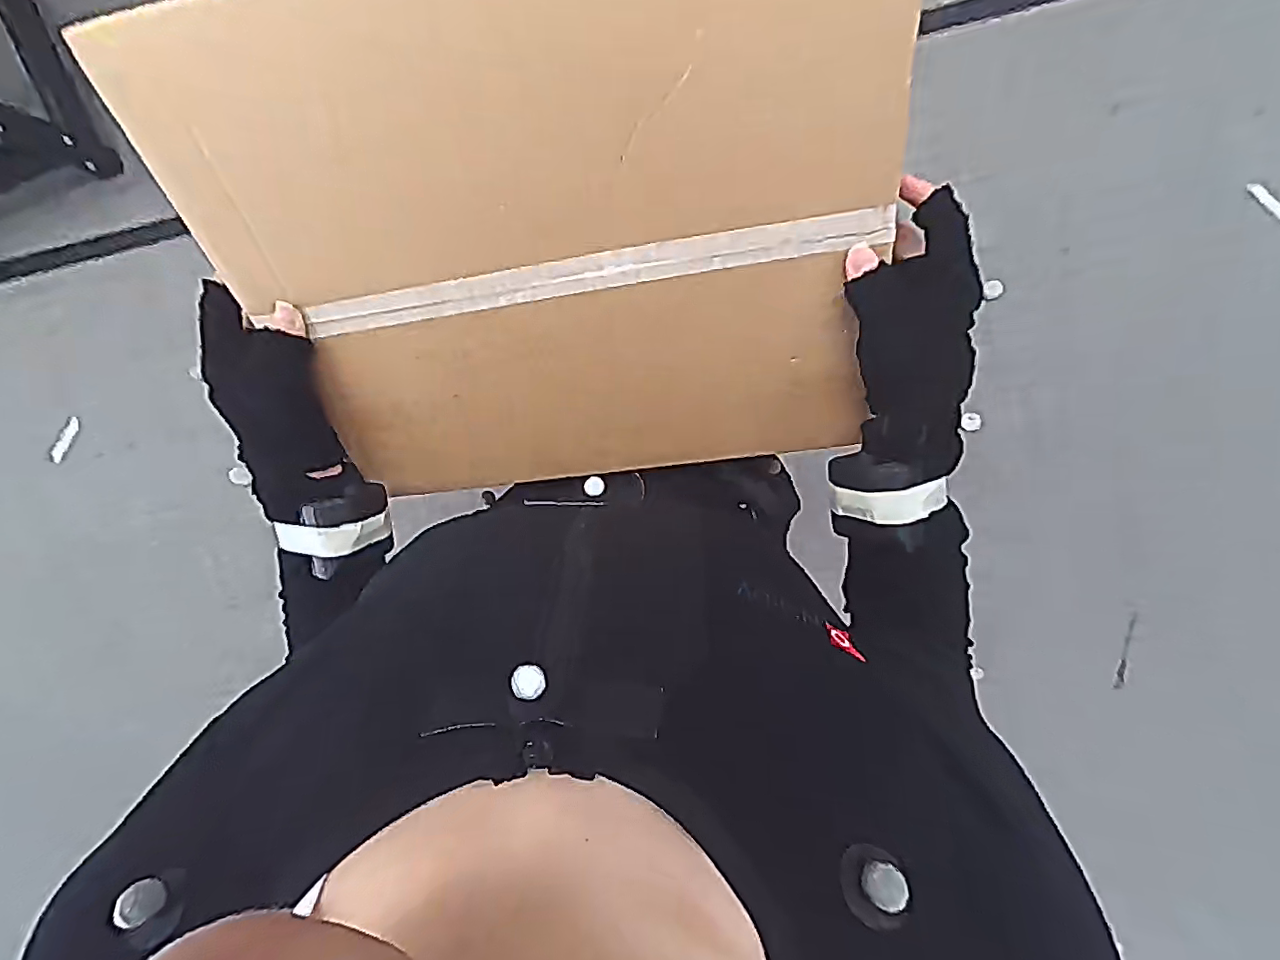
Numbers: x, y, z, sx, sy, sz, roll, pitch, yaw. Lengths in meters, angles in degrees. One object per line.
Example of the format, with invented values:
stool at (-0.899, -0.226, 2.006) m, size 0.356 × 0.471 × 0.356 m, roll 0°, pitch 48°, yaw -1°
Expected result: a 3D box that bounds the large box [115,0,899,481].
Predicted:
large box at (-0.051, -0.232, 0.458) m, size 0.408 × 0.320 × 0.320 m, roll -6°, pitch 131°, yaw 8°
